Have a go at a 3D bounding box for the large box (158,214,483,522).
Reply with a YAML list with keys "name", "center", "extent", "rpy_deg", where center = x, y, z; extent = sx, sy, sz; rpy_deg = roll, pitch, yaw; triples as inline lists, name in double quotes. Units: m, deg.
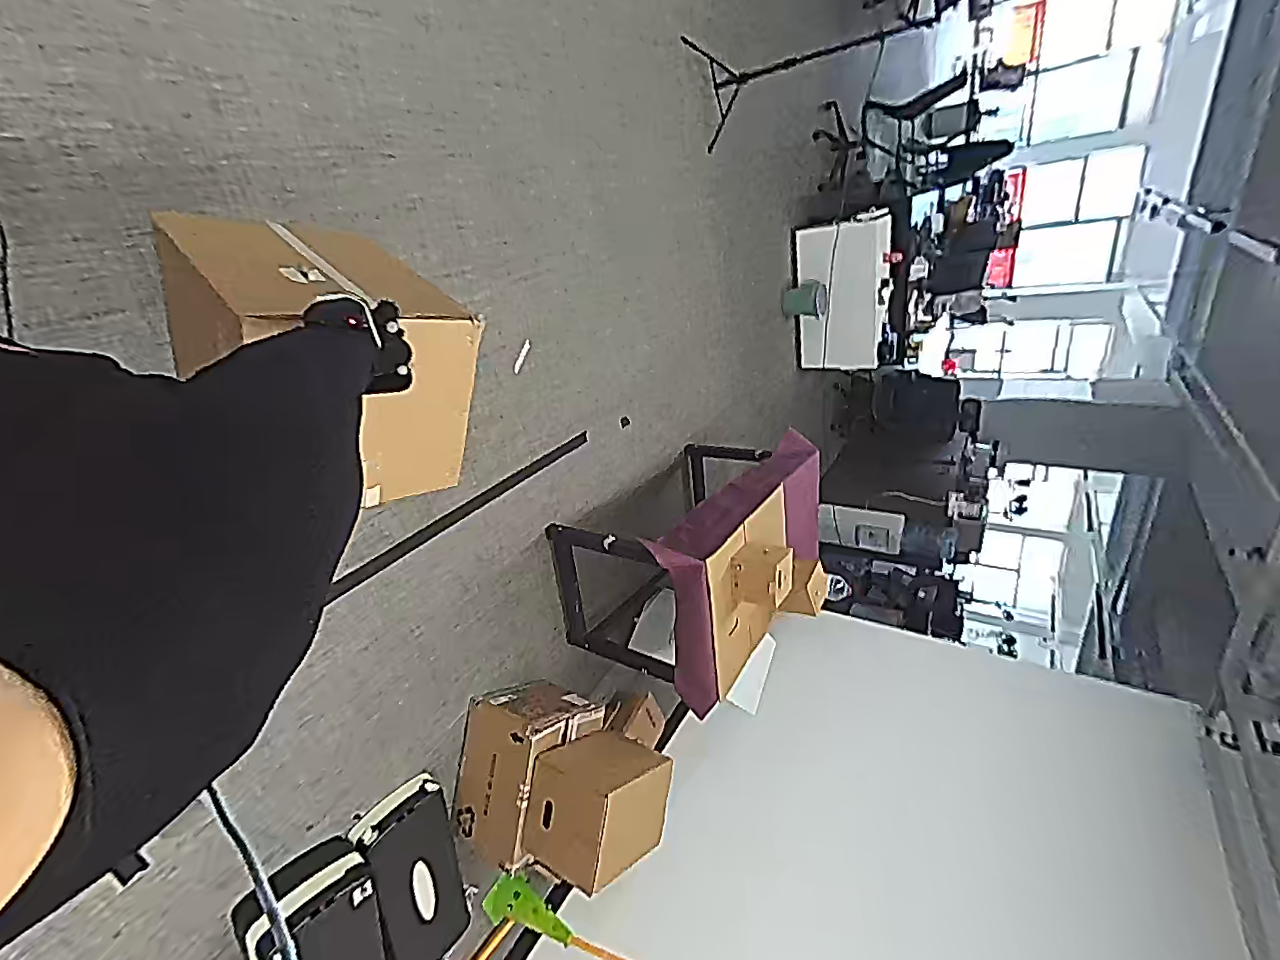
- name: "large box"
  center: [-0.527, -0.195, 0.898]
  extent: [0.320, 0.408, 0.320]
  rpy_deg: [-18, 138, -46]
